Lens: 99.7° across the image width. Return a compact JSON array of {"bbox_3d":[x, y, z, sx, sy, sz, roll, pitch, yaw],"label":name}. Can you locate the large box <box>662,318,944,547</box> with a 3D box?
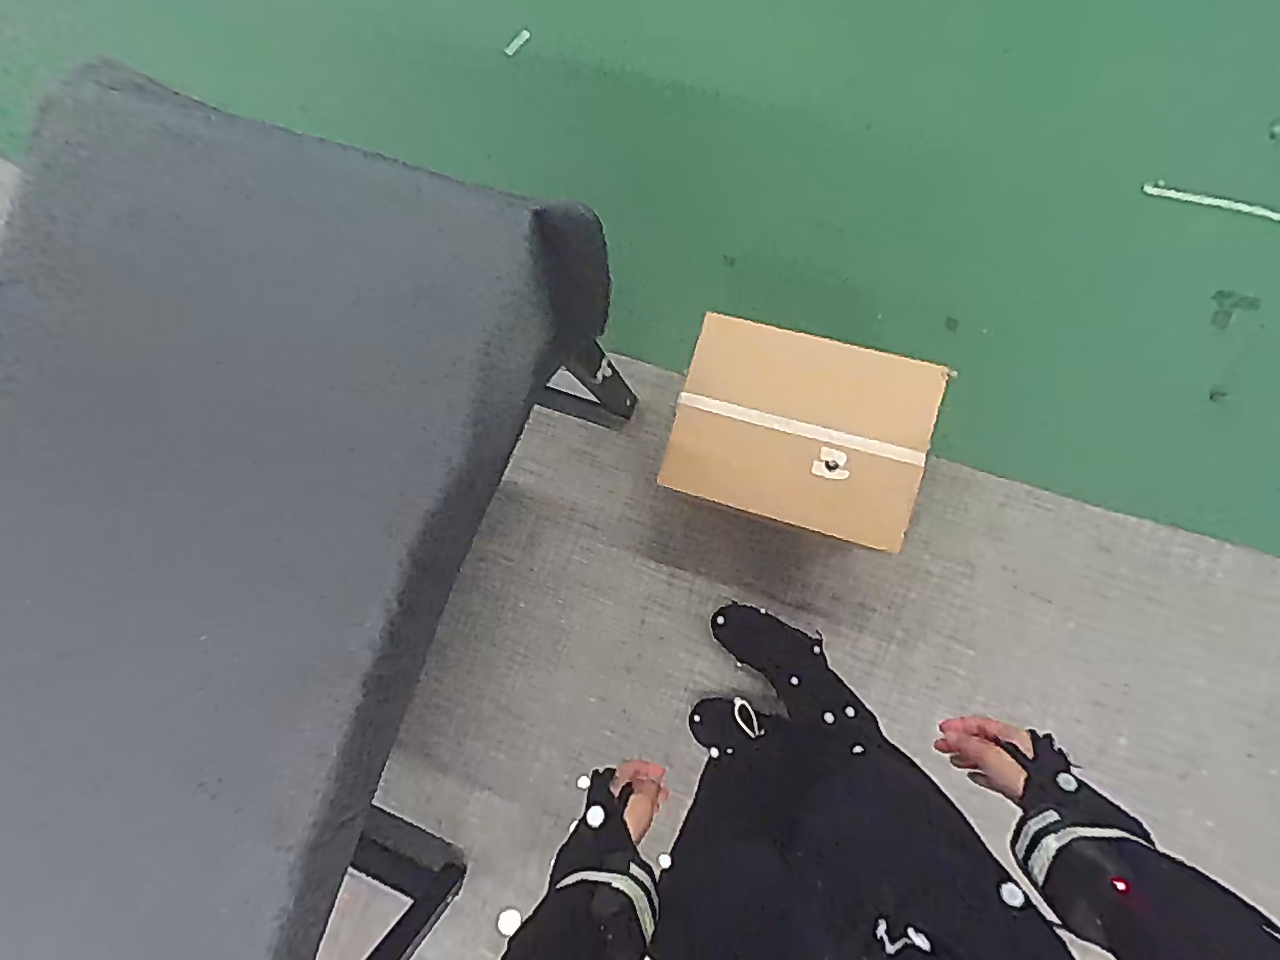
[{"bbox_3d":[0.284,-0.072,1.043,0.408,0.320,0.320,16,88,10],"label":"large box"}]
